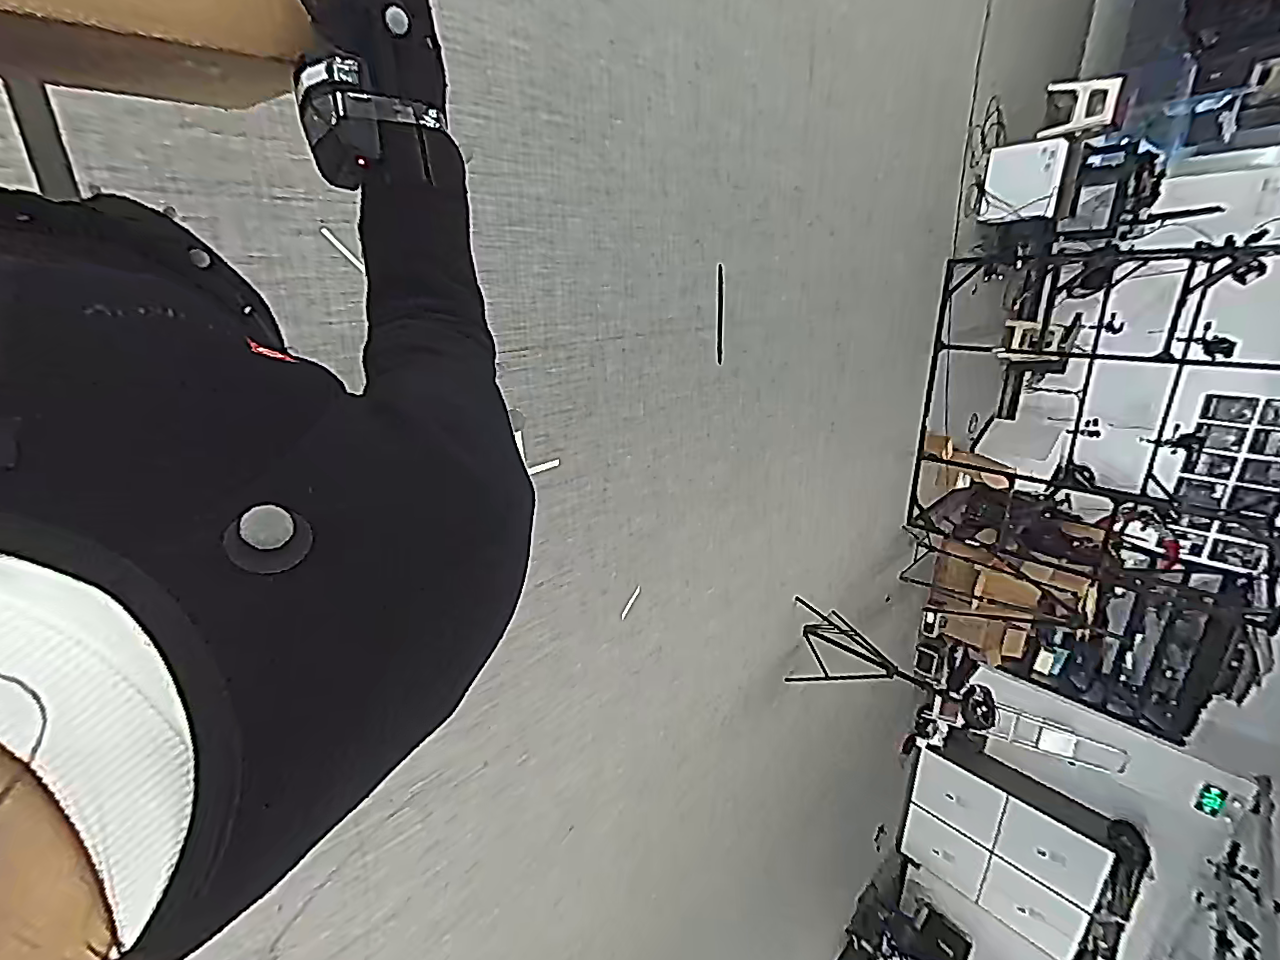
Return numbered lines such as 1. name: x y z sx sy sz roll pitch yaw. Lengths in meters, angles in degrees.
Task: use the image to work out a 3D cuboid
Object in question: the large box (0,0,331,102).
1. large box: -0.448 -0.413 0.270 0.408 0.320 0.320 -21 126 -39
